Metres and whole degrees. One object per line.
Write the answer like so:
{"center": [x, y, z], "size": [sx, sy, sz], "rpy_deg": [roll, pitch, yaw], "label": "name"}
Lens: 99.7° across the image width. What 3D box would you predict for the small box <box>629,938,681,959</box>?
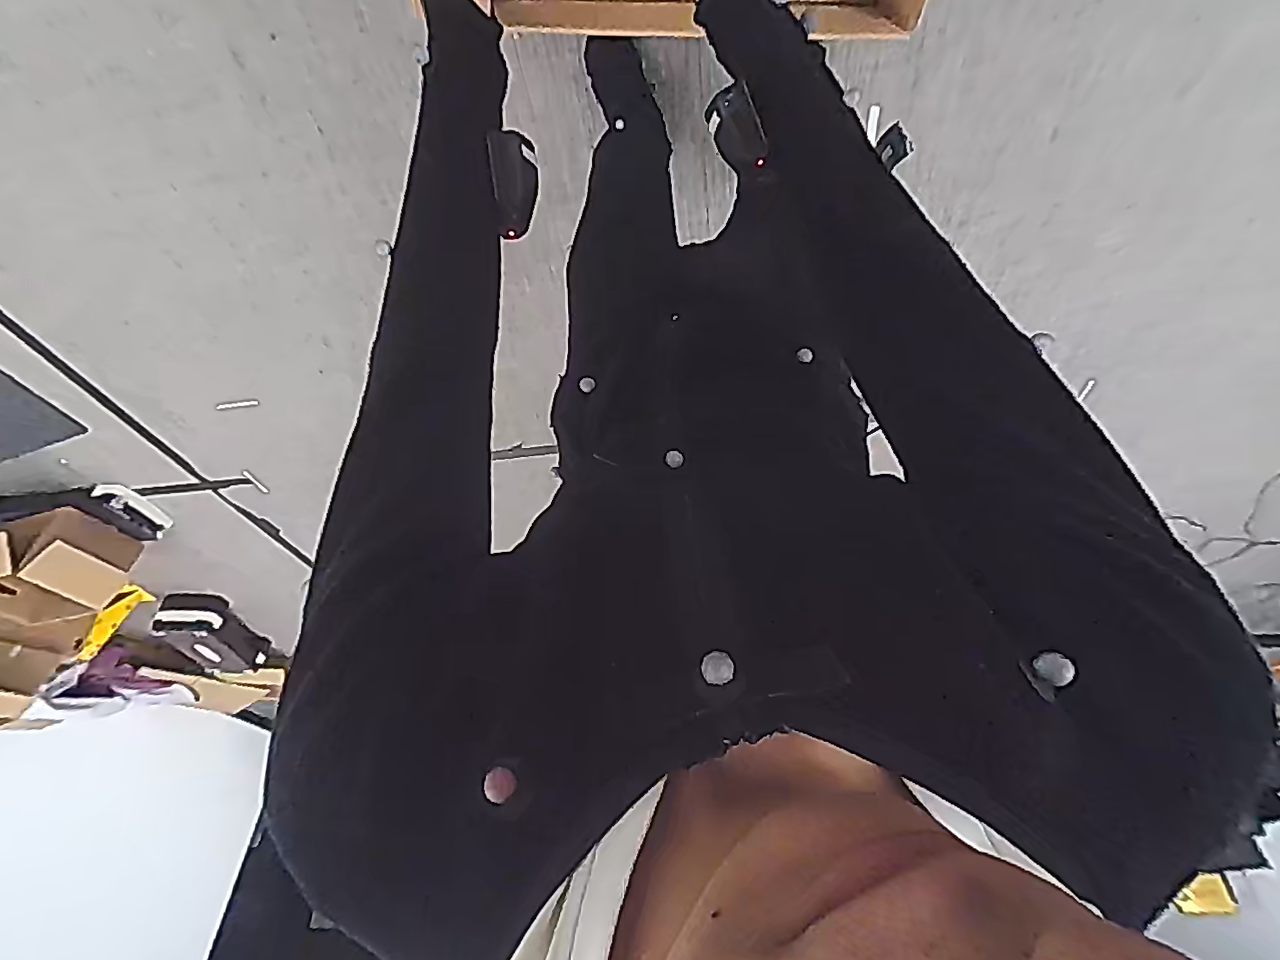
{"center": [0.056, 1.716, 1.885], "size": [0.168, 0.176, 0.179], "rpy_deg": [-8, 142, 7], "label": "small box"}
